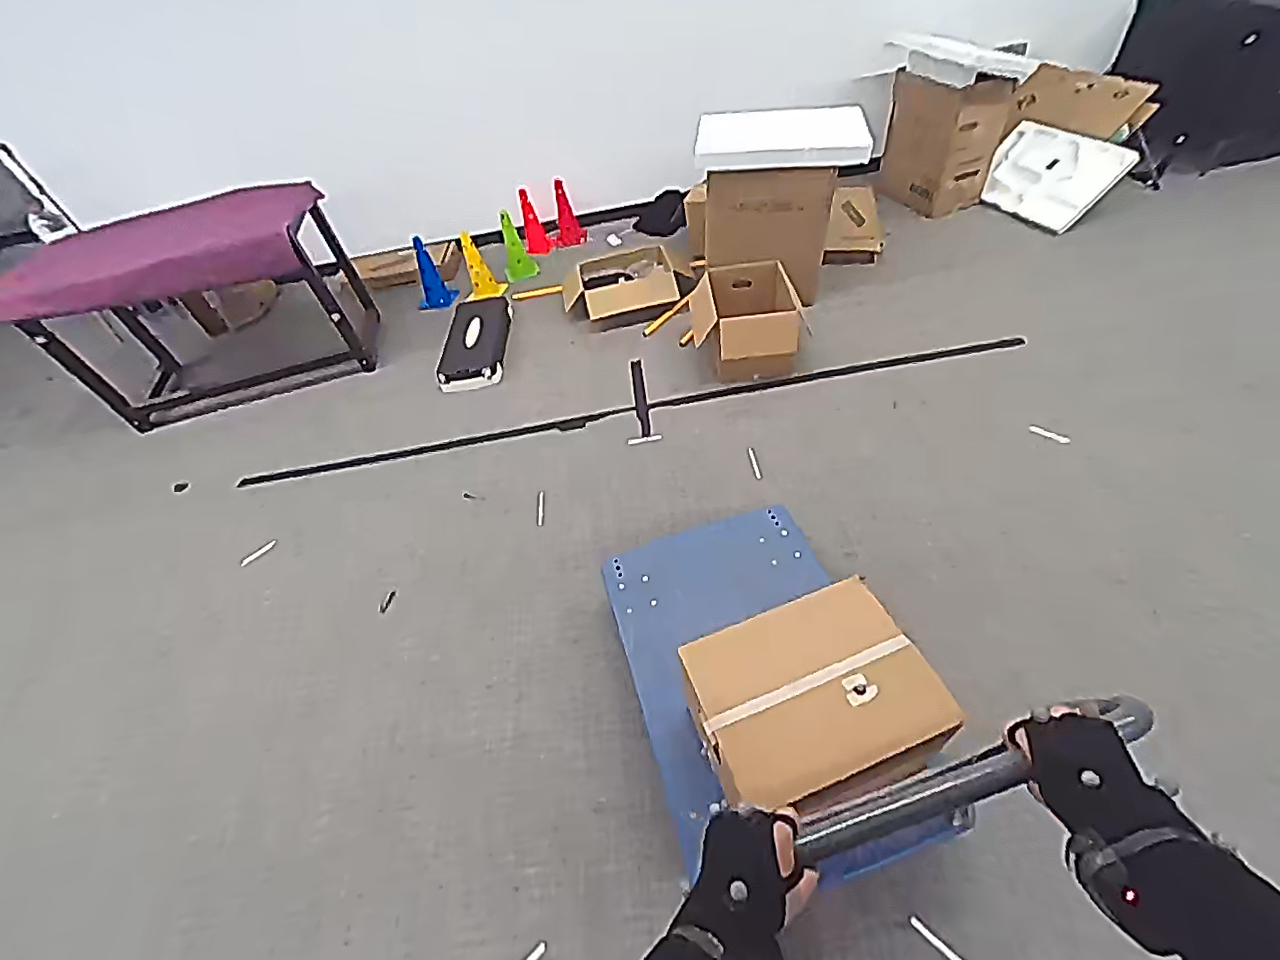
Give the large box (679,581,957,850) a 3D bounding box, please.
[{"bbox_3d":[0.328,0.477,1.100,0.408,0.320,0.320,-19,48,-9],"label":"large box"}]
